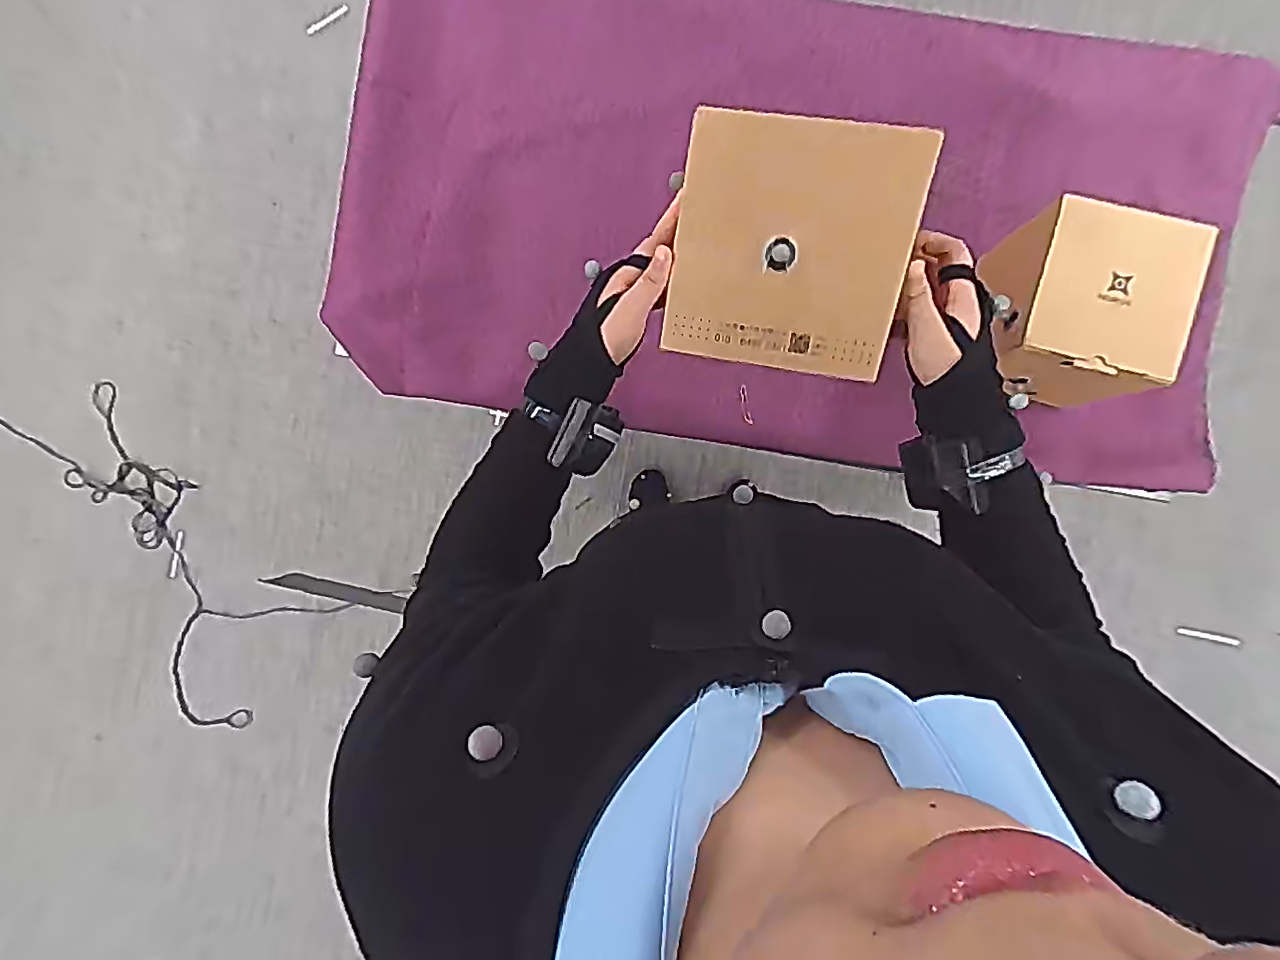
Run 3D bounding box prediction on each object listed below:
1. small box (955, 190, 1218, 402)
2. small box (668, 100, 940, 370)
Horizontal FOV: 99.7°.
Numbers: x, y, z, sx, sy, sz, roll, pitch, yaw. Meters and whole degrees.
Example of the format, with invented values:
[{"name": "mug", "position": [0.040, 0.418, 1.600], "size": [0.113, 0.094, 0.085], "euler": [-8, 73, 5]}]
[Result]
[{"name": "small box", "position": [0.521, -0.209, 0.661], "size": [0.168, 0.176, 0.179], "euler": [15, 90, 4]}, {"name": "small box", "position": [0.122, -0.192, 0.461], "size": [0.168, 0.179, 0.176], "euler": [11, 108, 8]}]
